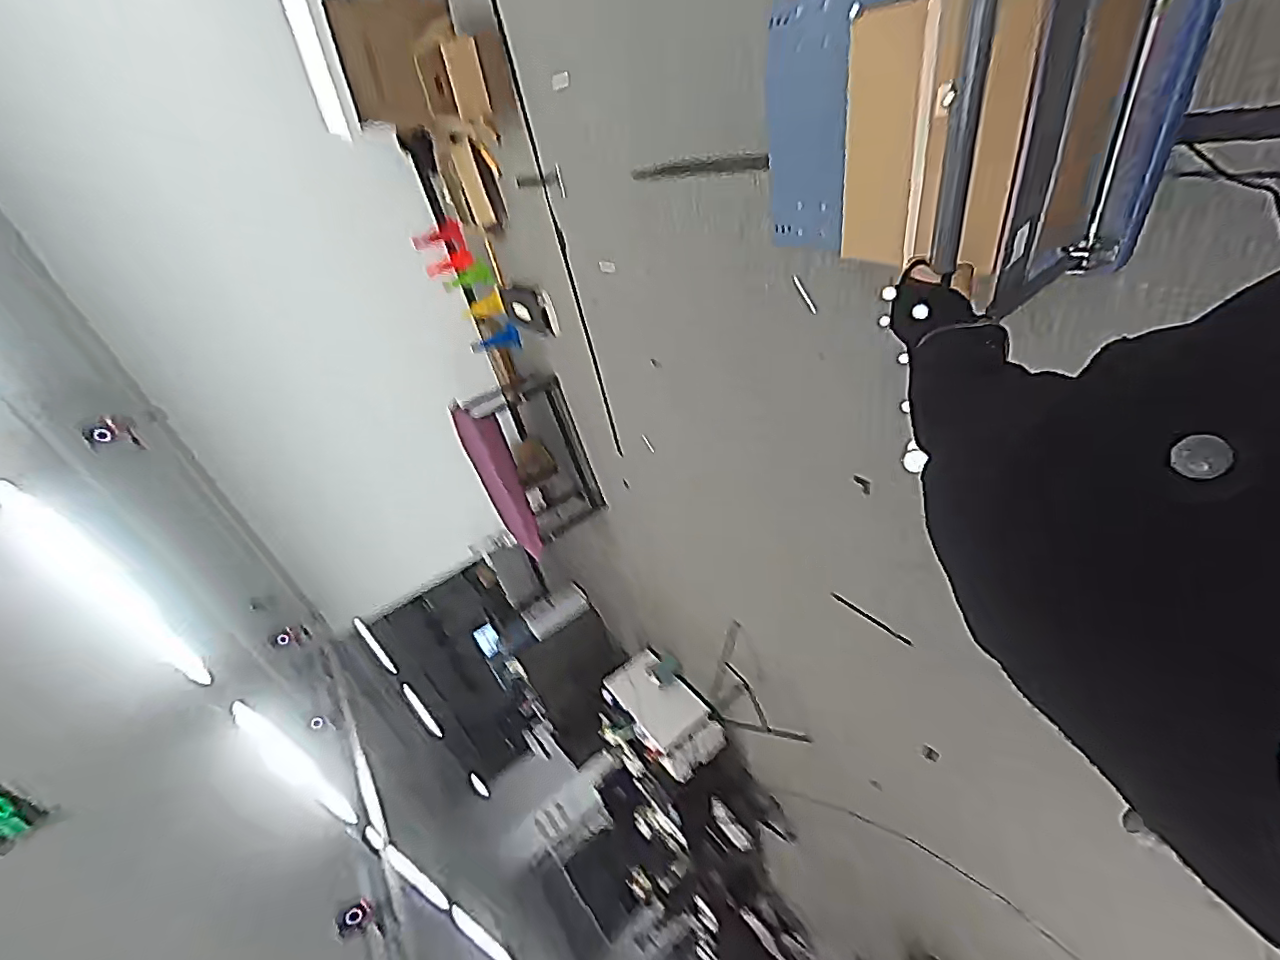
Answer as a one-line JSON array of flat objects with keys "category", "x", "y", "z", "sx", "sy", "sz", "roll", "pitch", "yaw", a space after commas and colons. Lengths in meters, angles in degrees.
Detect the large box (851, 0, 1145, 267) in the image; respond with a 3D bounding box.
[{"category": "large box", "x": 0.619, "y": -0.646, "z": 0.981, "sx": 0.320, "sy": 0.320, "sz": 0.408, "roll": 34, "pitch": 145, "yaw": 45}]
